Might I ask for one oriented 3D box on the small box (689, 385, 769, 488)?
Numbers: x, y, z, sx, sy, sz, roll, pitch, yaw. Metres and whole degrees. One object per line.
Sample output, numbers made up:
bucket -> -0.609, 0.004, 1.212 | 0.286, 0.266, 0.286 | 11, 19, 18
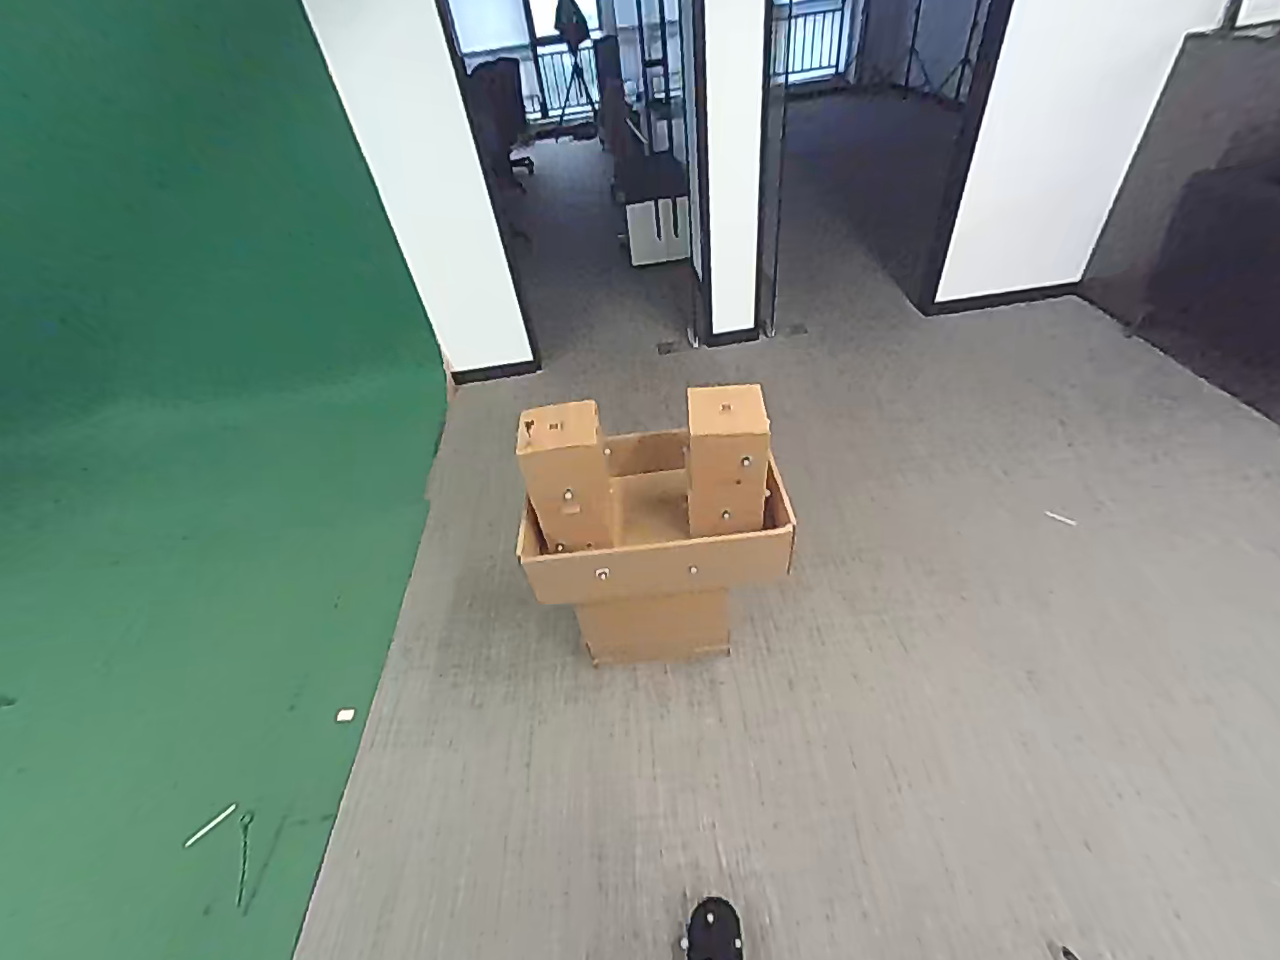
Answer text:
small box -> 0.197, -0.093, 1.221 | 0.168, 0.176, 0.179 | -2, 41, 6

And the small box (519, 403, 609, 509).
small box -> -0.167, -0.054, 1.242 | 0.179, 0.176, 0.168 | -8, 42, 1
